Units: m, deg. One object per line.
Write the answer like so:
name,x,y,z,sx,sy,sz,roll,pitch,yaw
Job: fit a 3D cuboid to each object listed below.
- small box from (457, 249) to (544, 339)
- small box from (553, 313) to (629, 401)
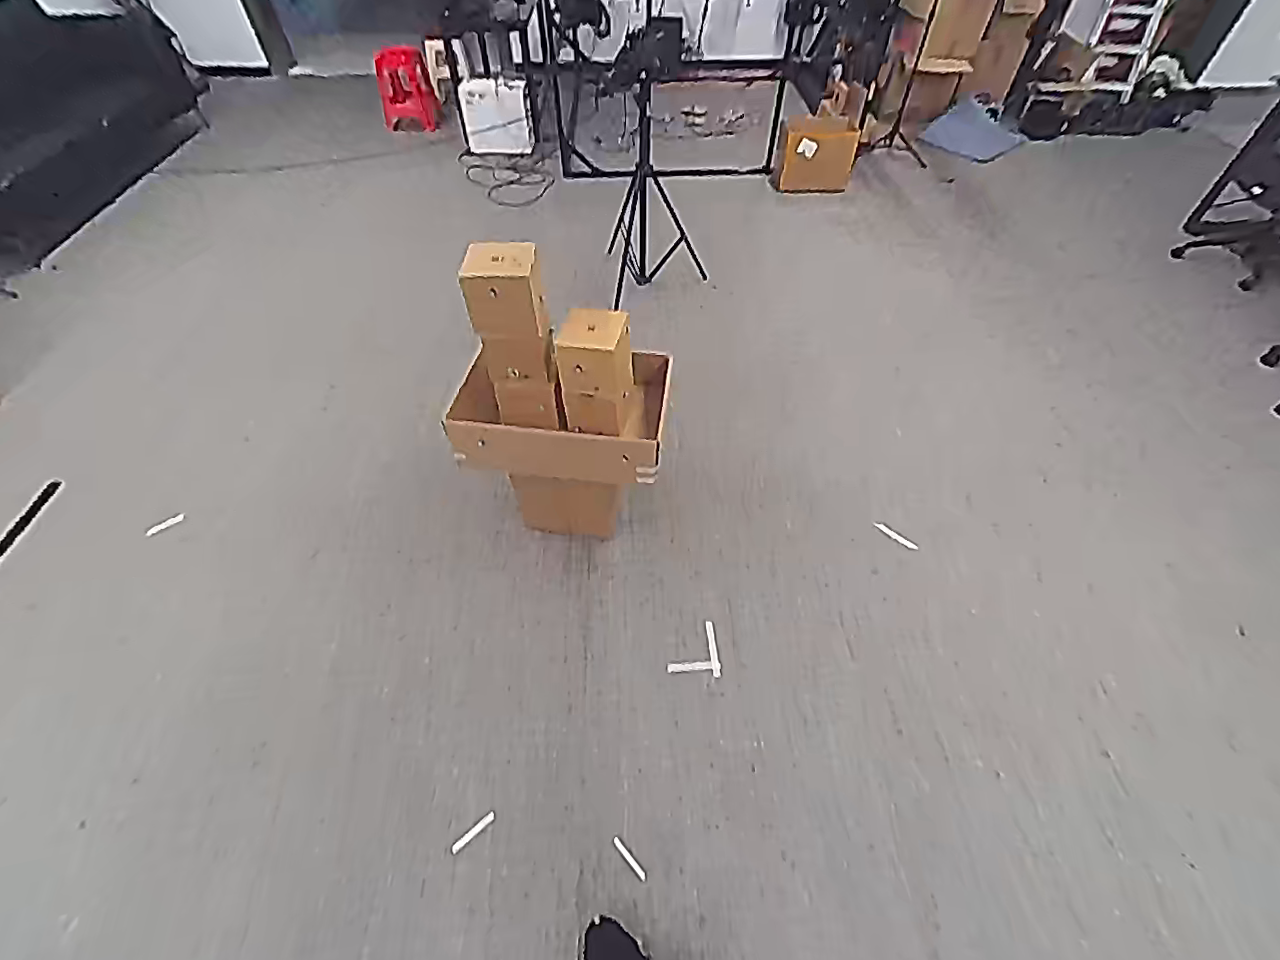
small box,-0.355,-0.483,1.411,0.179,0.176,0.168,0,50,-1
small box,-0.127,-0.340,1.505,0.168,0.176,0.179,7,50,9
